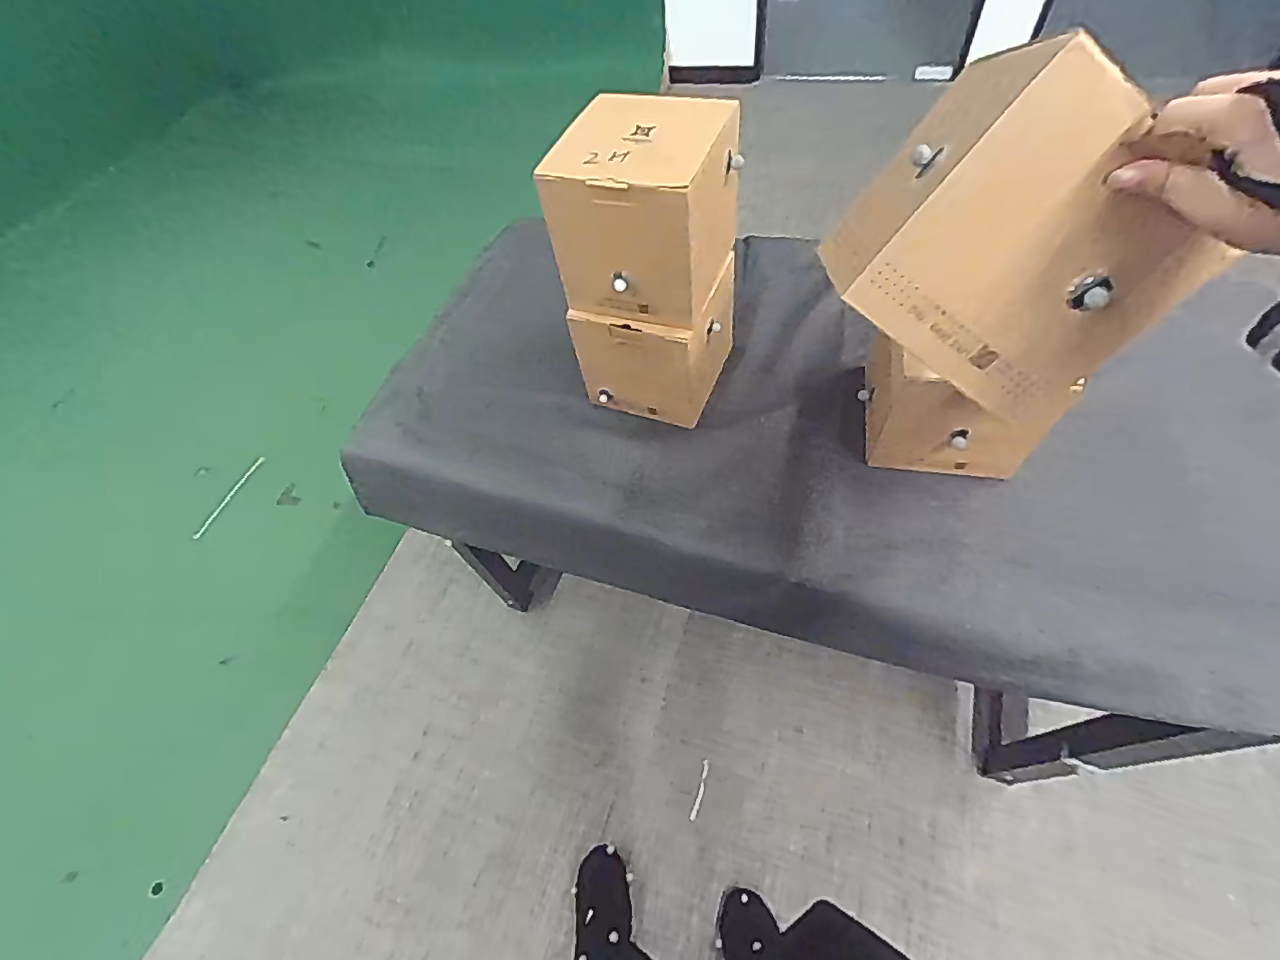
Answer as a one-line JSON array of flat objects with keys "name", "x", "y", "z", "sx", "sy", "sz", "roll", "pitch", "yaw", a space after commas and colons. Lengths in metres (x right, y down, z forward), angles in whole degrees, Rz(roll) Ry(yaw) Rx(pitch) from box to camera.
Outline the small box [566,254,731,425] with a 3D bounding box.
[{"name": "small box", "x": 0.023, "y": -0.203, "z": 0.757, "sx": 0.168, "sy": 0.176, "sz": 0.179, "roll": 17, "pitch": 60, "yaw": 18}]

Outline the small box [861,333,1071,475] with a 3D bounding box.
[{"name": "small box", "x": 0.374, "y": -0.124, "z": 0.656, "sx": 0.168, "sy": 0.176, "sz": 0.179, "roll": 6, "pitch": 59, "yaw": 12}]

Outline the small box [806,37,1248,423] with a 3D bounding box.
[{"name": "small box", "x": 0.246, "y": -0.172, "z": 0.401, "sx": 0.168, "sy": 0.176, "sz": 0.179, "roll": 34, "pitch": 31, "yaw": -12}]

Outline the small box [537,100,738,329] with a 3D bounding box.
[{"name": "small box", "x": 0.008, "y": -0.306, "z": 0.628, "sx": 0.168, "sy": 0.176, "sz": 0.179, "roll": 15, "pitch": 60, "yaw": 17}]
